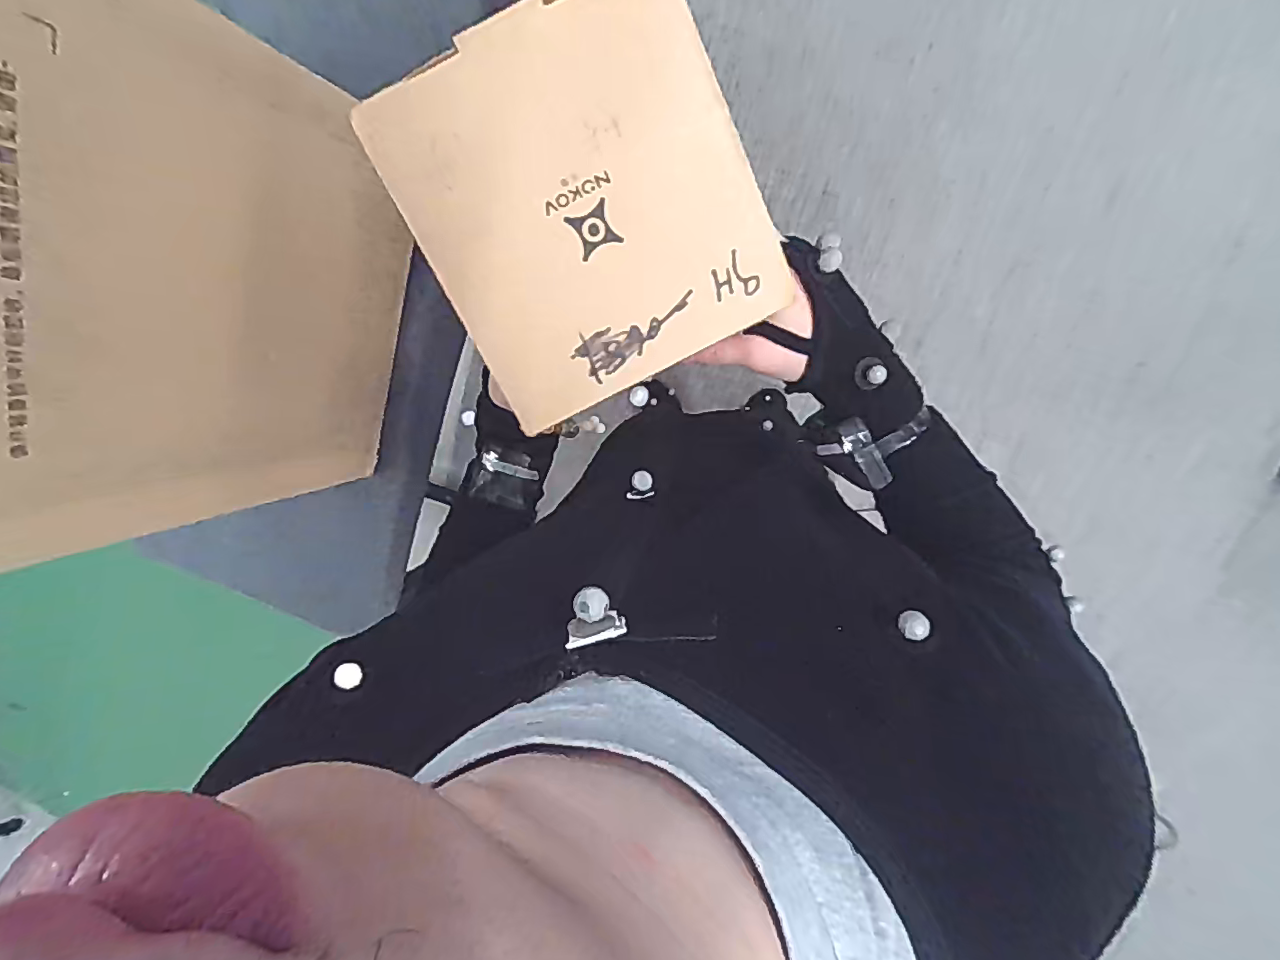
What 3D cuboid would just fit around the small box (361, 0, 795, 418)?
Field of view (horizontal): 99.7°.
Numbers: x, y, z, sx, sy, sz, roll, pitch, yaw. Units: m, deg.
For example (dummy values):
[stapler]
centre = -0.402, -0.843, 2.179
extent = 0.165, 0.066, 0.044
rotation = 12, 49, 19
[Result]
[small box]
centre = -0.031, -0.160, 0.349
extent = 0.168, 0.176, 0.179
rotation = -26, 105, 3
